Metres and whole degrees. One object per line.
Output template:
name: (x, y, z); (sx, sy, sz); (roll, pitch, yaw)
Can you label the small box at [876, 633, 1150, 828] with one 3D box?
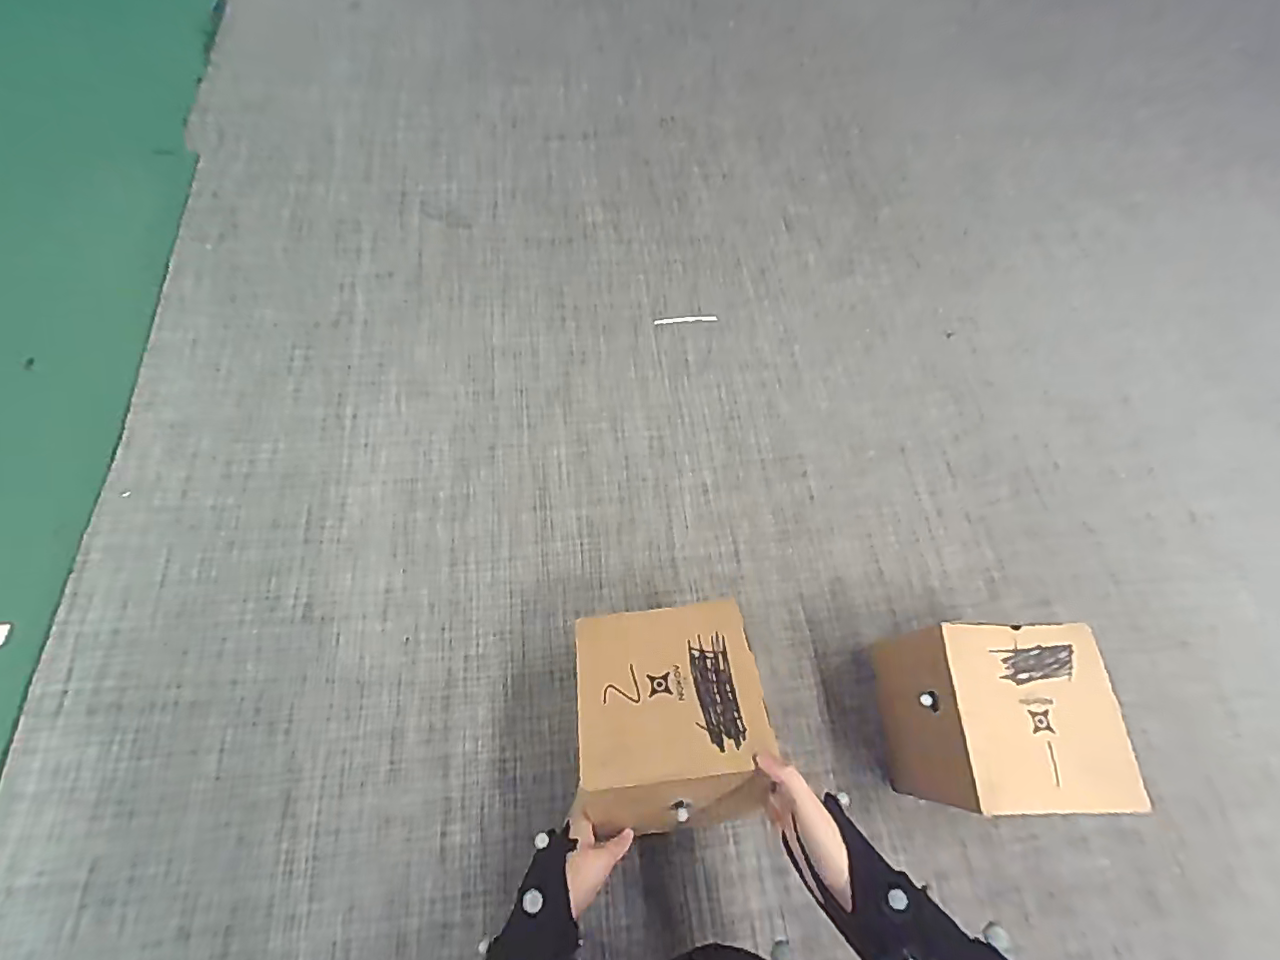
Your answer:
small box: (0.388, 0.276, 0.606); (0.168, 0.176, 0.179); (0, 65, -3)
